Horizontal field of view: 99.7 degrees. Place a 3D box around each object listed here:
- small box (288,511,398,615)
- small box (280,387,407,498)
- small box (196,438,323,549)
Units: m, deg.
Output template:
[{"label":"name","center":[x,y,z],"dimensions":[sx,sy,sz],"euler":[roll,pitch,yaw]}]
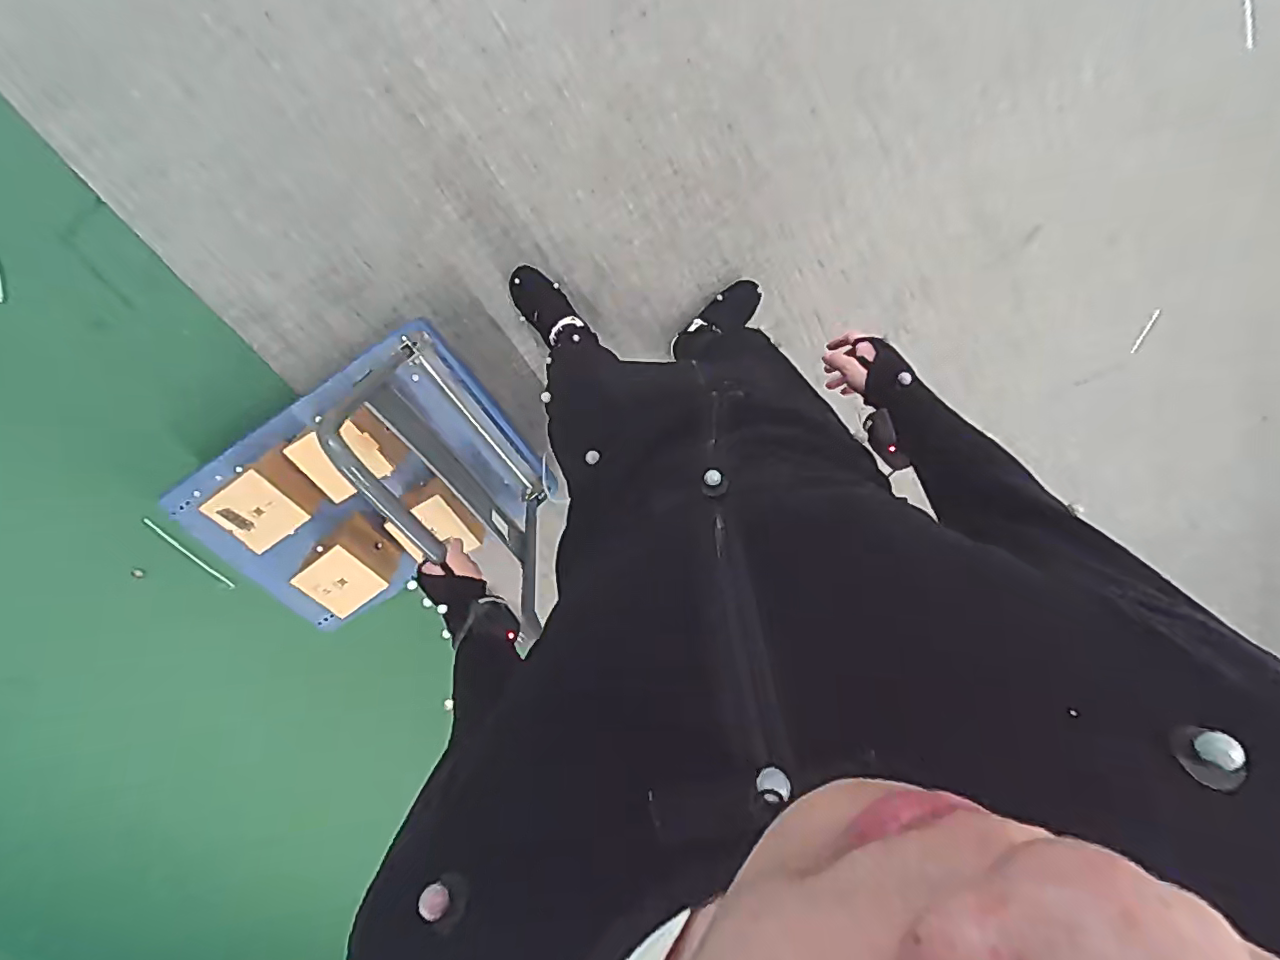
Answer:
[{"label":"small box","center":[-0.771,0.213,1.431],"dimensions":[0.179,0.176,0.168],"euler":[-34,116,10]},{"label":"small box","center":[-0.689,-0.092,1.282],"dimensions":[0.179,0.176,0.168],"euler":[-29,118,7]},{"label":"small box","center":[-0.903,0.028,1.315],"dimensions":[0.179,0.176,0.168],"euler":[-33,118,8]}]
